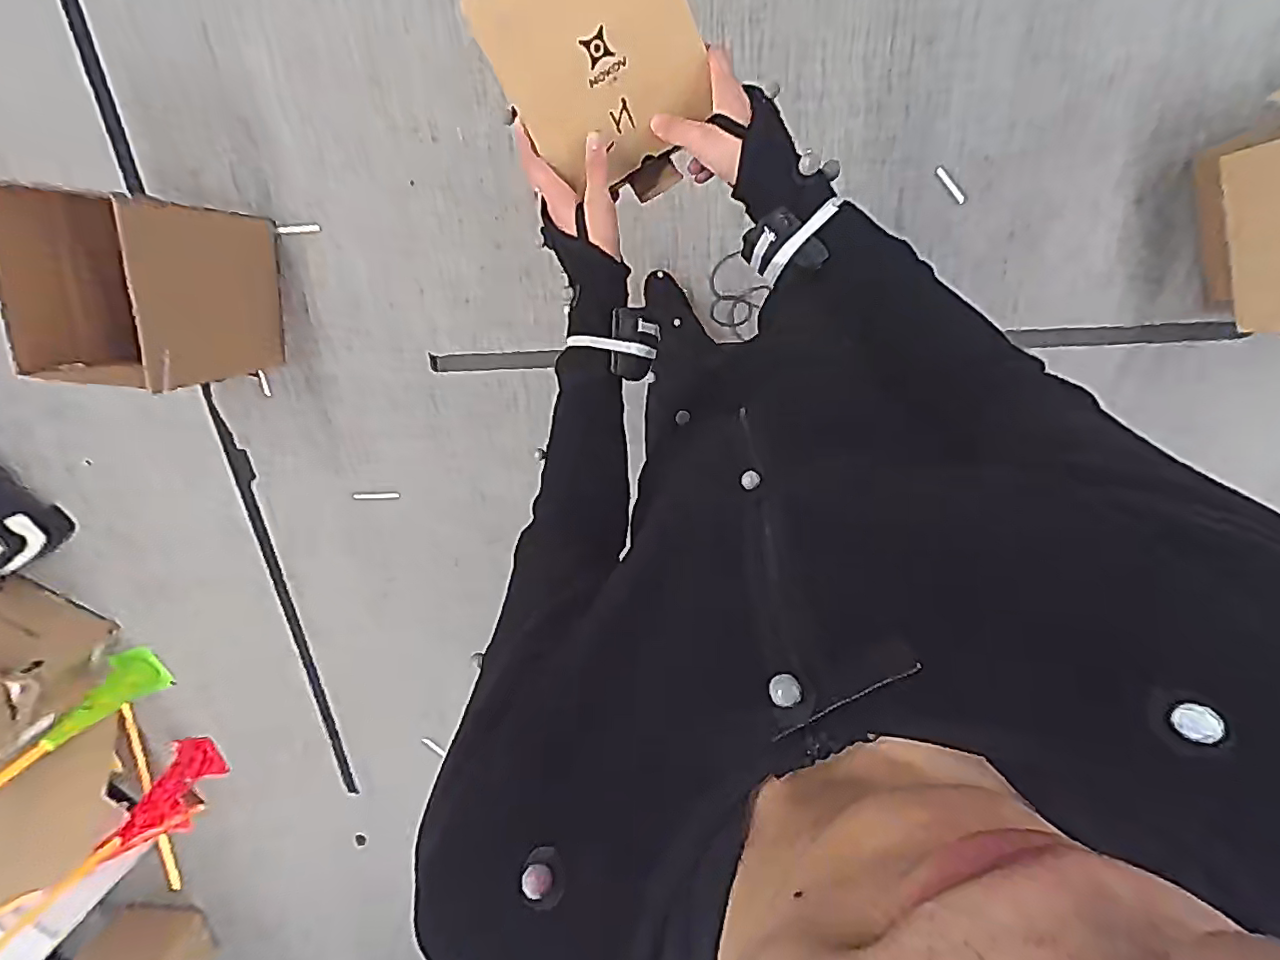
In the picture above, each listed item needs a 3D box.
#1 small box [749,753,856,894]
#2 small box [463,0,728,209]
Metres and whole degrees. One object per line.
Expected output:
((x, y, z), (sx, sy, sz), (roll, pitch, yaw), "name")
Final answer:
((0.307, 0.653, 1.044), (0.168, 0.176, 0.179), (-6, 112, 6), "small box")
((-0.041, -0.385, 0.520), (0.168, 0.176, 0.179), (-28, 115, 7), "small box")
